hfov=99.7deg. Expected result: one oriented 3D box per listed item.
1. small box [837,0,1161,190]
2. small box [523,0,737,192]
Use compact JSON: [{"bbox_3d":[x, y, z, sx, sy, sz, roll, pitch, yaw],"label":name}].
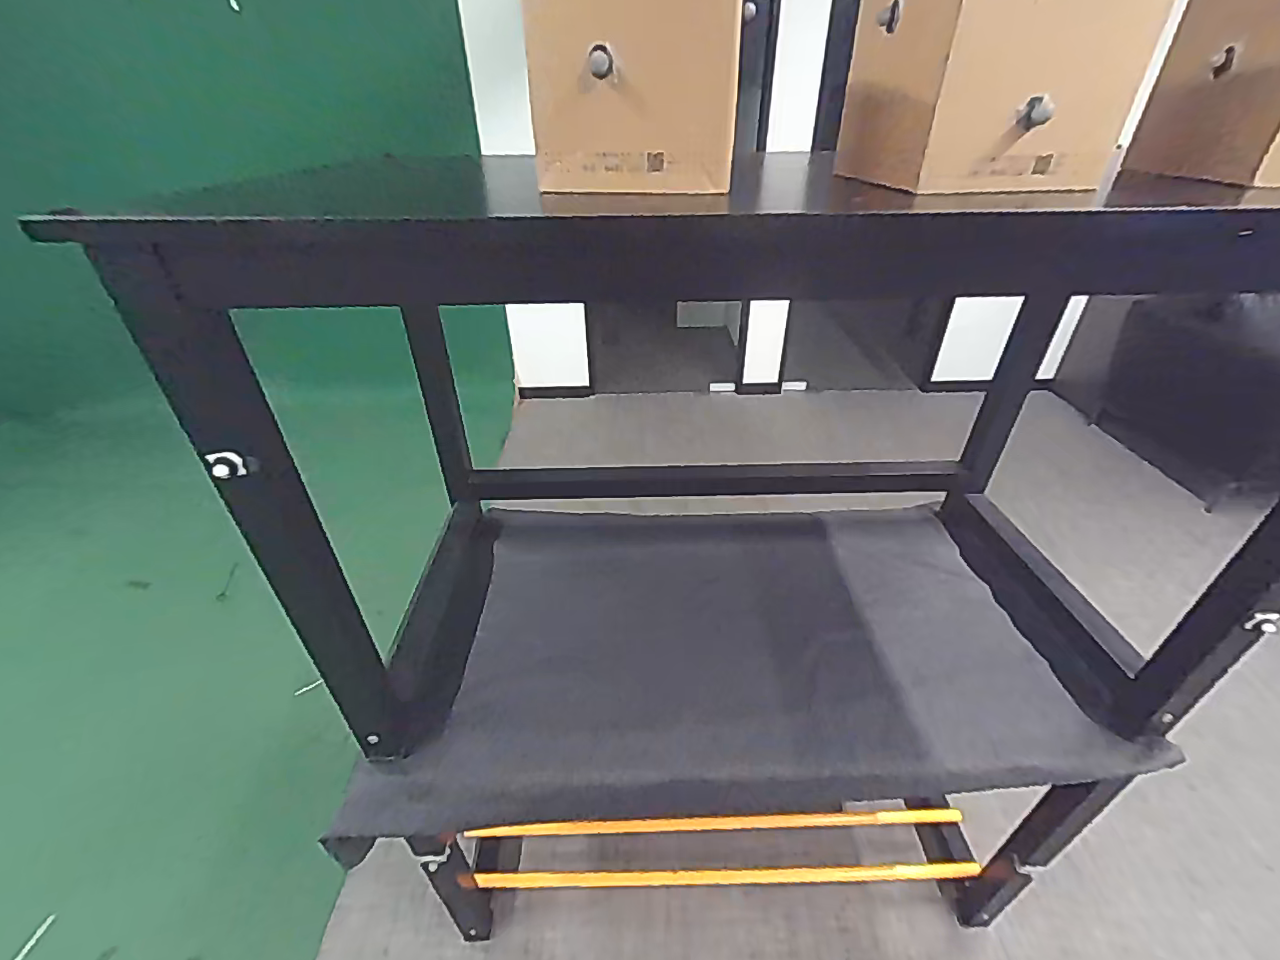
[{"bbox_3d":[0.297,-0.364,0.485,0.168,0.176,0.179,-4,34,-4],"label":"small box"},{"bbox_3d":[0.003,-0.367,0.498,0.168,0.176,0.179,4,34,6],"label":"small box"}]
